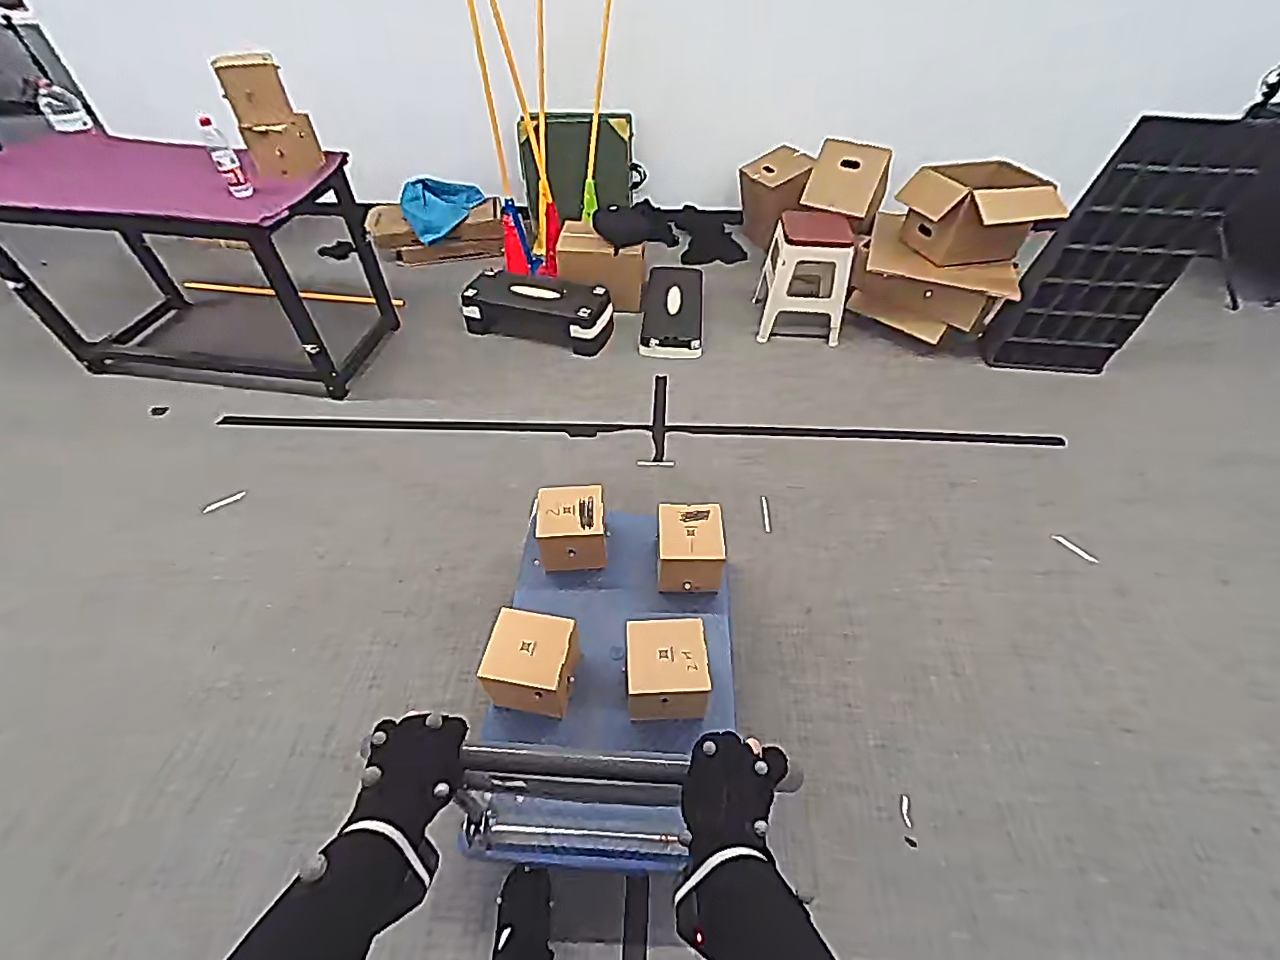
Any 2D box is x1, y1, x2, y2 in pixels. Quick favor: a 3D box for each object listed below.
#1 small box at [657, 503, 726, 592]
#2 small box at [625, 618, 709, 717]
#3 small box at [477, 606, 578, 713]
[{"bbox_3d":[0.131,0.180,1.445,0.168,0.176,0.179,1,50,0],"label":"small box"},{"bbox_3d":[0.057,0.428,1.226,0.179,0.176,0.168,-1,49,-2],"label":"small box"},{"bbox_3d":[-0.247,0.414,1.236,0.179,0.176,0.168,9,48,5],"label":"small box"}]
